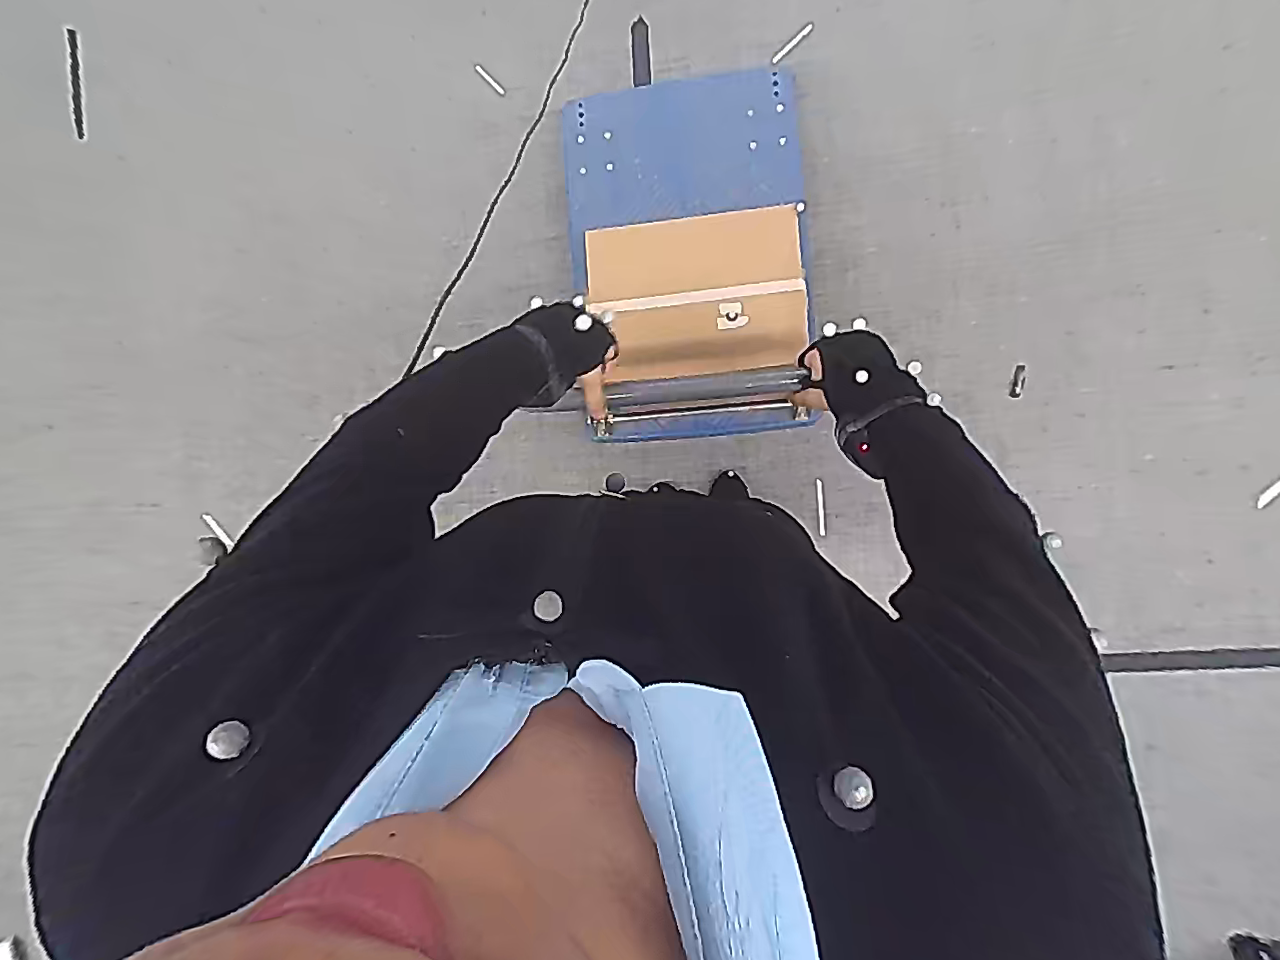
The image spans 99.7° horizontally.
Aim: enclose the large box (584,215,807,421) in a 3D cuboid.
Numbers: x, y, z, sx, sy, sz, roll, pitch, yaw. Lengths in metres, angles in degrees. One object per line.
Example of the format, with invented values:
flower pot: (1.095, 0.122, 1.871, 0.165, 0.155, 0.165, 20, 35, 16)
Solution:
large box: (0.114, -0.319, 1.168, 0.408, 0.320, 0.320, -5, 88, 6)
